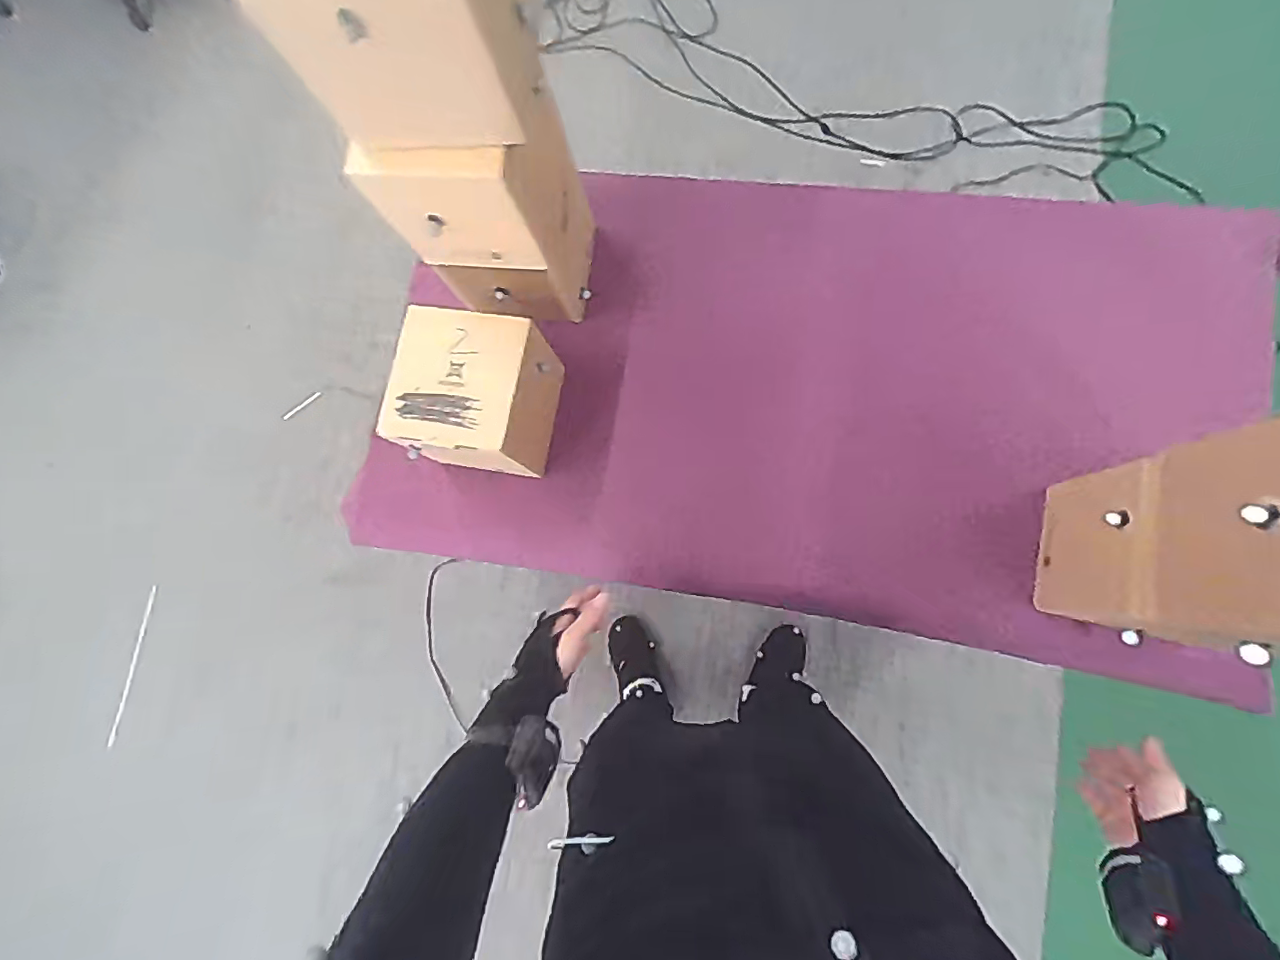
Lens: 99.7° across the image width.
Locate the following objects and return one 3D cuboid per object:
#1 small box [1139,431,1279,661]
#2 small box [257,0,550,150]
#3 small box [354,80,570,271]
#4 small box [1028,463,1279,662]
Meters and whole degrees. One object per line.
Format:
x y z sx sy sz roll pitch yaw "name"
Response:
0.569 0.061 0.449 0.168 0.176 0.179 13 82 11 "small box"
-0.191 -0.413 0.462 0.179 0.176 0.168 3 81 7 "small box"
-0.187 -0.362 0.620 0.168 0.176 0.179 6 81 8 "small box"
0.586 0.093 0.607 0.179 0.176 0.168 13 80 9 "small box"
